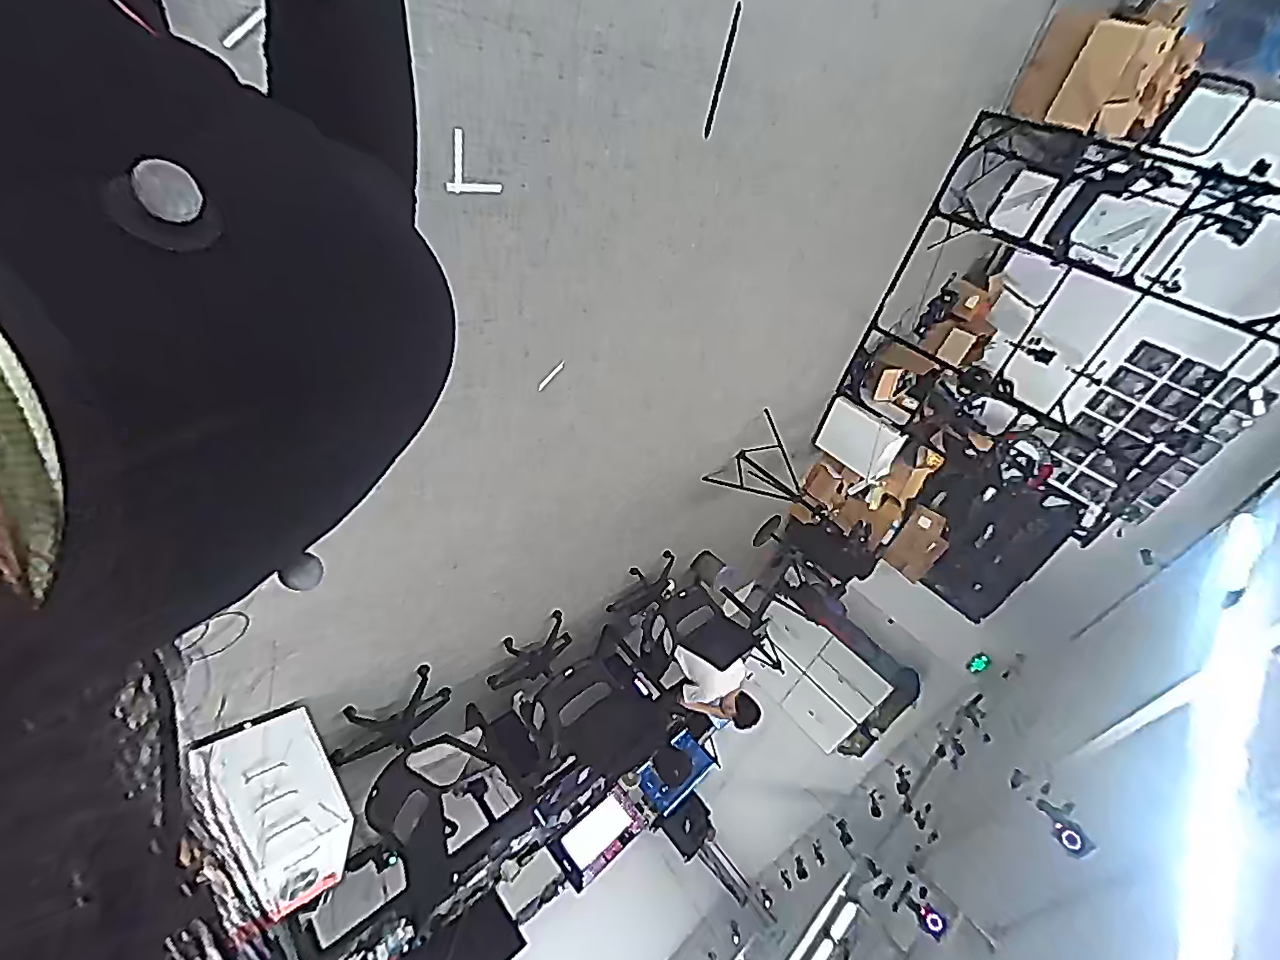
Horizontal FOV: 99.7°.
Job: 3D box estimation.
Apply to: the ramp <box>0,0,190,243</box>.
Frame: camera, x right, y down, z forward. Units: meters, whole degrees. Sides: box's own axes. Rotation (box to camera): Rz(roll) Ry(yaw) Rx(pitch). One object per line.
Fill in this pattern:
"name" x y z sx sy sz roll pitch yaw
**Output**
"ramp" -1.014 -0.794 0.739 0.509 0.206 0.991 -24 144 -39
